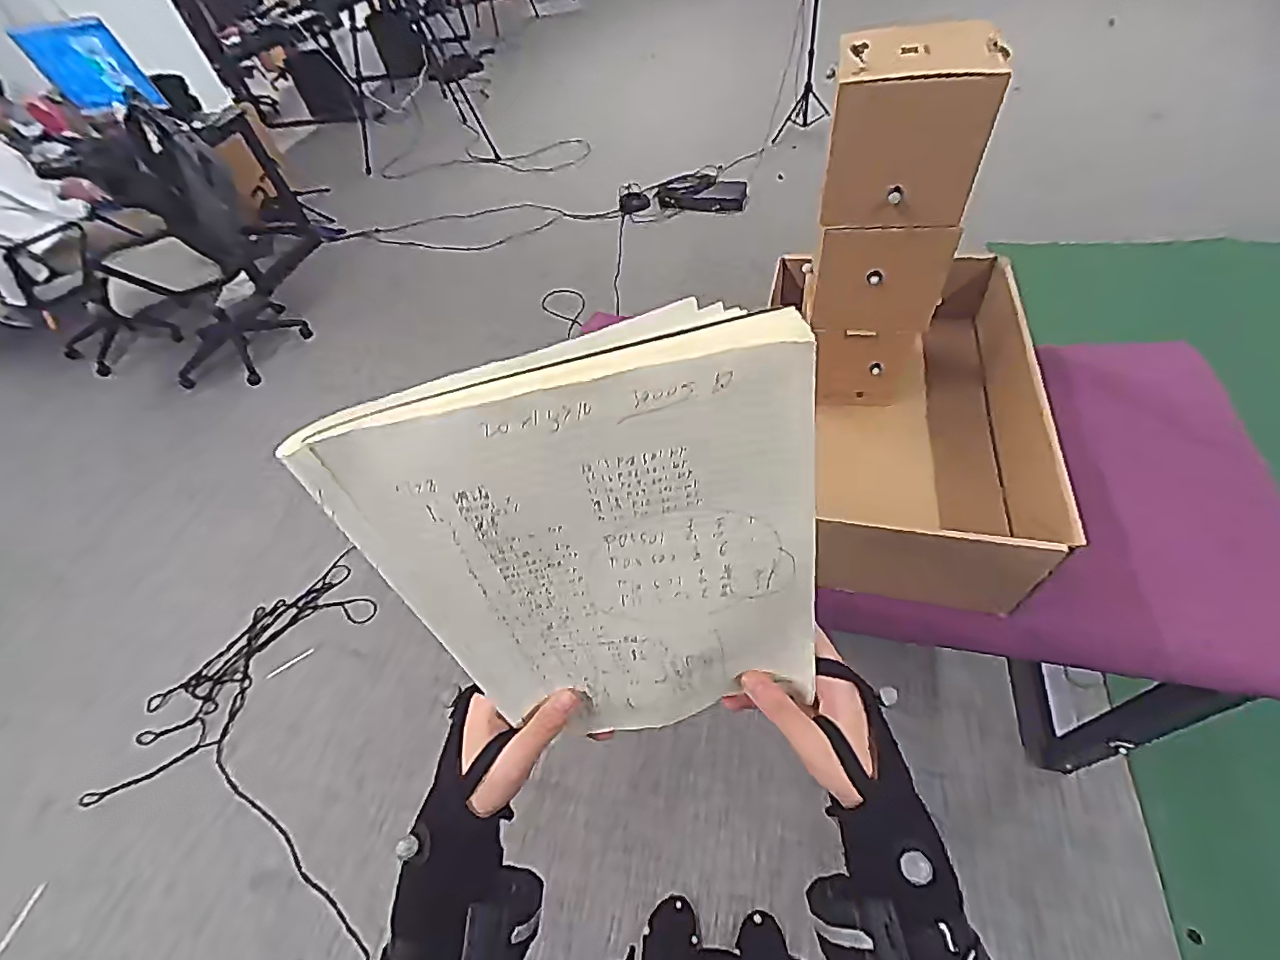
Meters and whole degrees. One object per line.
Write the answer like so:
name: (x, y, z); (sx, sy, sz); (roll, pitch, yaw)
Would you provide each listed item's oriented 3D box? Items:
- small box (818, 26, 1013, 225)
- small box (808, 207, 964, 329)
small box: (0.336, -0.448, 0.694); (0.179, 0.176, 0.168); (7, 54, 13)
small box: (0.358, -0.346, 0.821); (0.179, 0.176, 0.168); (5, 54, 12)
